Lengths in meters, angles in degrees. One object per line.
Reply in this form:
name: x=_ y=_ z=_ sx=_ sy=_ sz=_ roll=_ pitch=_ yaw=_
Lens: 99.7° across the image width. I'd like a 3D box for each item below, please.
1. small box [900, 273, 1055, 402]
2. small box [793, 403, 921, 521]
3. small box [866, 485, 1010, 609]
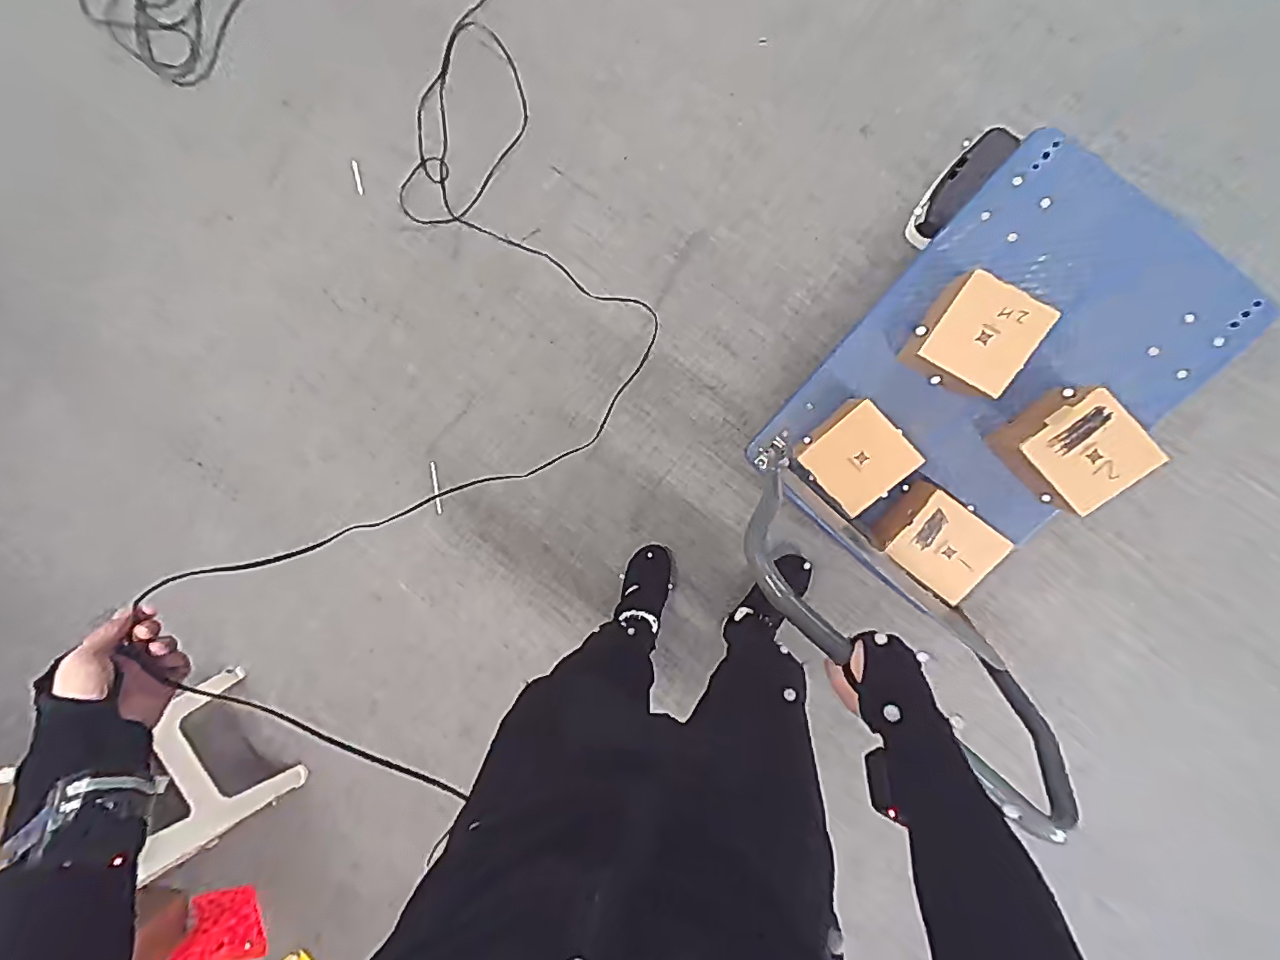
small box: x=0.634 y=-0.267 z=1.049 sx=0.168 sy=0.176 sz=0.179 roll=33 pitch=103 yaw=5
small box: x=0.438 y=-0.046 z=1.127 sx=0.179 sy=0.176 sz=0.168 roll=-42 pitch=89 yaw=16
small box: x=0.599 y=0.127 z=1.116 sx=0.179 sy=0.176 sz=0.168 roll=38 pitch=105 yaw=4
